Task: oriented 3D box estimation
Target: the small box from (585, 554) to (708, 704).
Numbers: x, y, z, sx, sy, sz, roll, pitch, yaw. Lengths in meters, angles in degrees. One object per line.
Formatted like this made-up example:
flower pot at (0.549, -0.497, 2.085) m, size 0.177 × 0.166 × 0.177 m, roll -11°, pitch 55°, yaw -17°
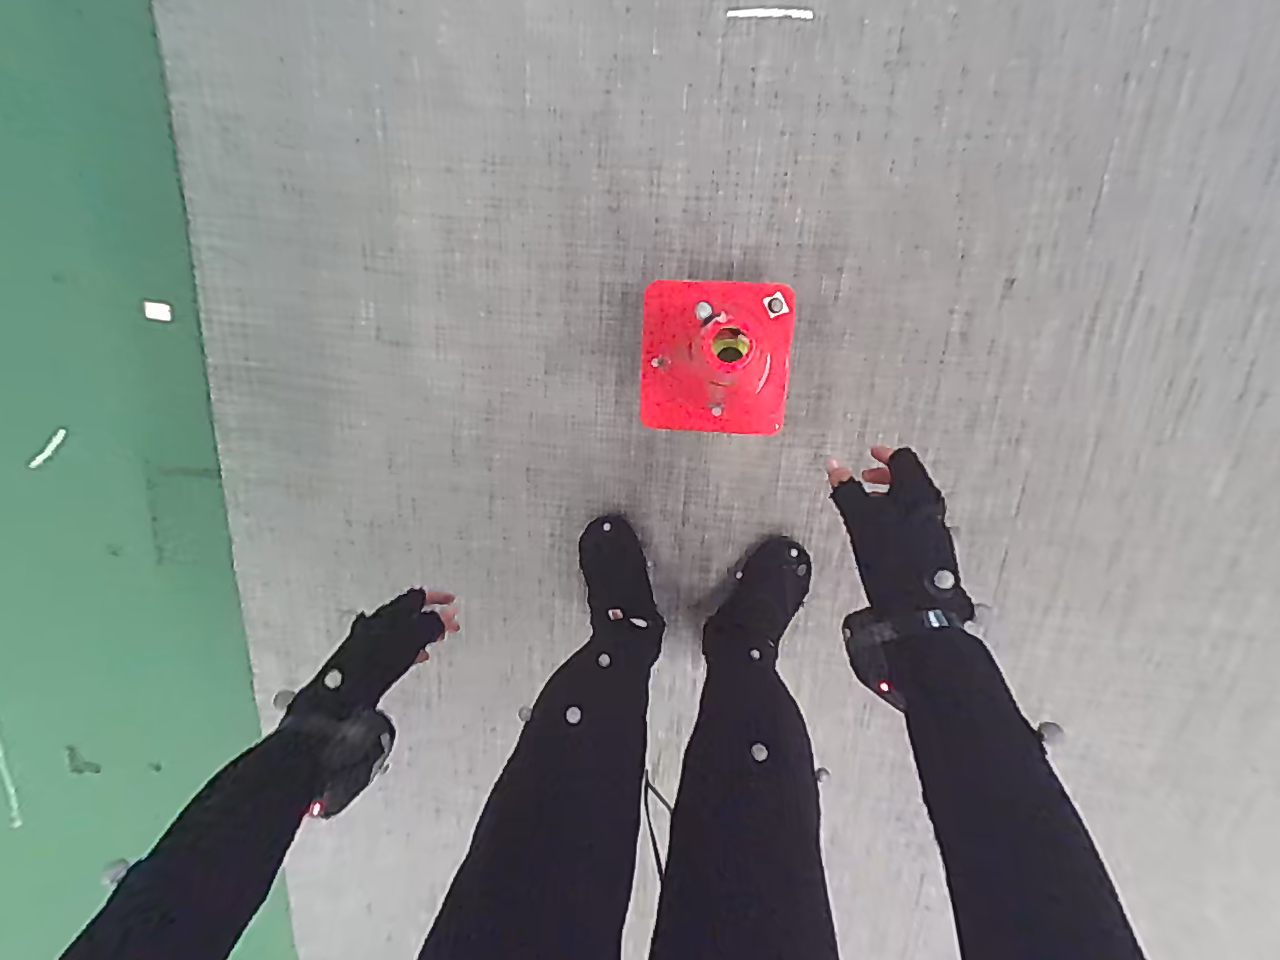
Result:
small box at (0.001, 0.241, 0.891) m, size 0.168 × 0.176 × 0.179 m, roll 4°, pitch 108°, yaw -11°
